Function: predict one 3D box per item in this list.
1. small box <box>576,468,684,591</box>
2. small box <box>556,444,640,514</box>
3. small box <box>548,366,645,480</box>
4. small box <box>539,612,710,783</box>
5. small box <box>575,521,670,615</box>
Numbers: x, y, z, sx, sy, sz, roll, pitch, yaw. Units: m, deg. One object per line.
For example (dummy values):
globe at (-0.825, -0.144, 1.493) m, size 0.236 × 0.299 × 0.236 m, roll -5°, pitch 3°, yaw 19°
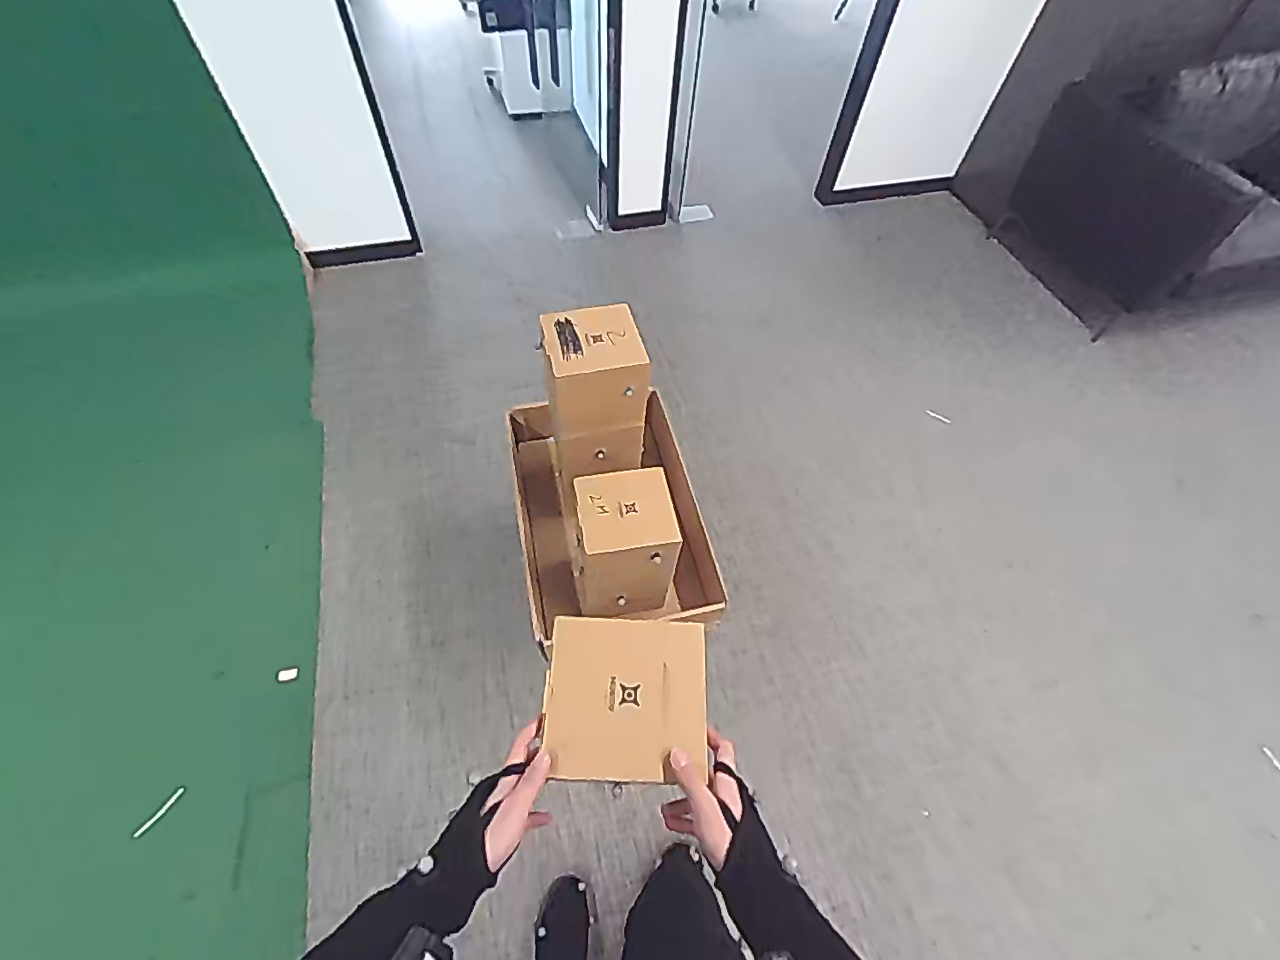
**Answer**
small box at (-0.027, 0.098, 1.039) m, size 0.179 × 0.176 × 0.168 m, roll -7°, pitch 57°, yaw -9°
small box at (-0.107, -0.035, 1.321) m, size 0.179 × 0.176 × 0.168 m, roll -10°, pitch 59°, yaw -10°
small box at (-0.098, -0.121, 1.181) m, size 0.179 × 0.176 × 0.168 m, roll -12°, pitch 59°, yaw -10°
small box at (-0.014, 0.267, 0.651) m, size 0.179 × 0.176 × 0.168 m, roll 4°, pitch 61°, yaw -1°
small box at (-0.041, 0.186, 1.178) m, size 0.179 × 0.176 × 0.168 m, roll -8°, pitch 57°, yaw -9°
